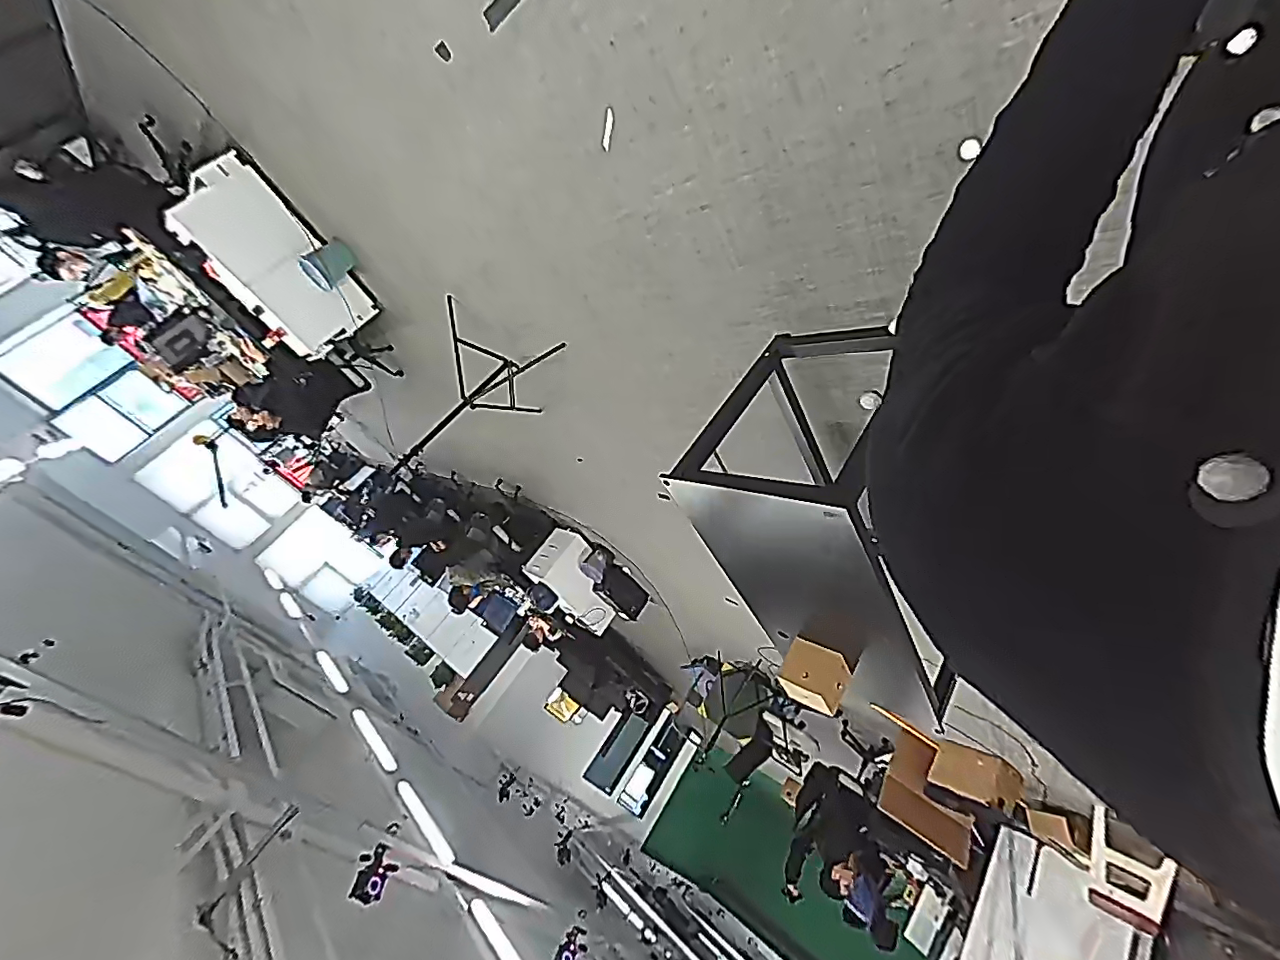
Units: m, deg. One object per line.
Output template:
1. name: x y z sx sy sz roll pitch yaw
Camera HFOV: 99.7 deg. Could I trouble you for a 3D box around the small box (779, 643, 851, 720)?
1. small box: 0.625 0.703 1.904 0.179 0.176 0.168 13 145 46
